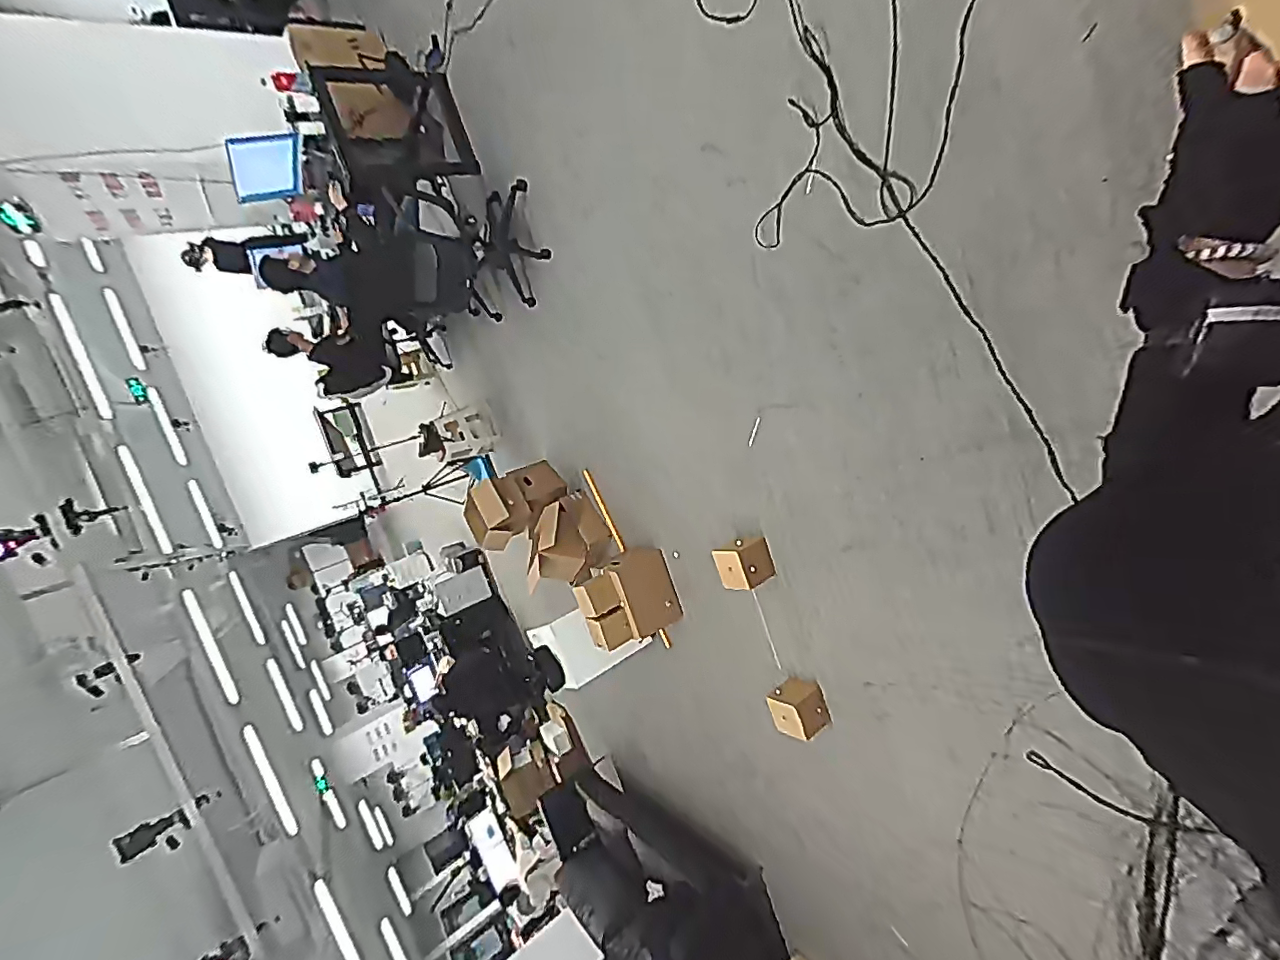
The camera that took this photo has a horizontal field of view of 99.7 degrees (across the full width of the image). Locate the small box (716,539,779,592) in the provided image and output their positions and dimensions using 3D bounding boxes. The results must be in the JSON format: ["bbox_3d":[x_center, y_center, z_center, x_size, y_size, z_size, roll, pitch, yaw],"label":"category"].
[{"bbox_3d":[0.459,0.359,2.304,0.168,0.176,0.179,-13,100,58],"label":"small box"}]

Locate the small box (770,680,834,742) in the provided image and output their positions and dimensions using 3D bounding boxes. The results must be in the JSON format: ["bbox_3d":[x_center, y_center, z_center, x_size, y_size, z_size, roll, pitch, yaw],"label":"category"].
[{"bbox_3d":[0.706,0.997,2.349,0.179,0.176,0.168,-13,99,59],"label":"small box"}]
